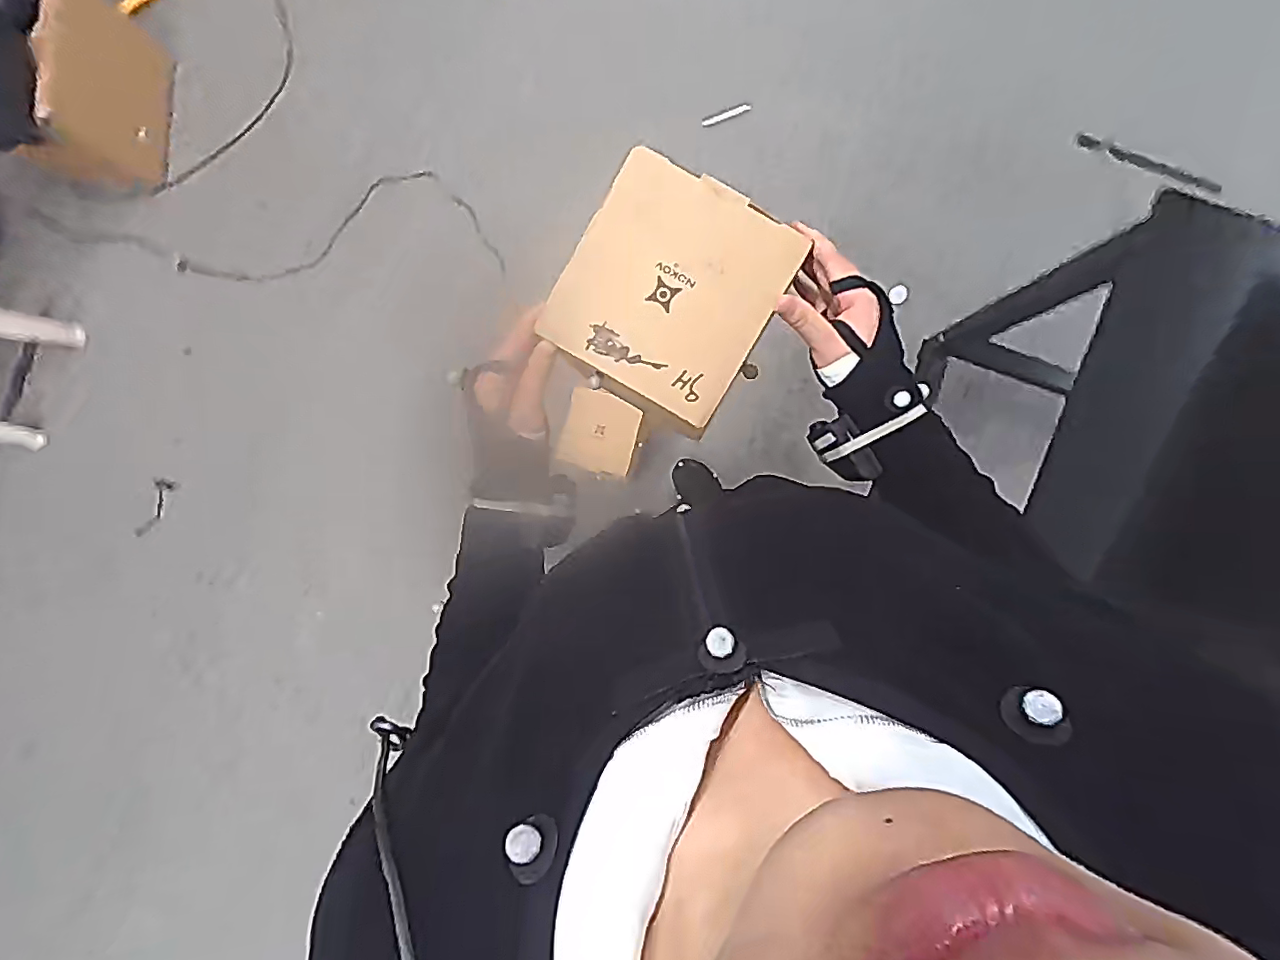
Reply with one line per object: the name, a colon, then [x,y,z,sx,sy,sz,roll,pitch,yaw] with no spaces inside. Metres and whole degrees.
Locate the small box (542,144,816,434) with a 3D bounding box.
small box: [0.035,-0.161,0.519,0.168,0.176,0.179,31,92,4]

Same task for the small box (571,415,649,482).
small box: [-0.078,-0.100,1.442,0.168,0.176,0.179,17,91,3]

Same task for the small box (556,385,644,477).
small box: [-0.087,-0.109,1.280,0.168,0.176,0.179,13,88,2]
